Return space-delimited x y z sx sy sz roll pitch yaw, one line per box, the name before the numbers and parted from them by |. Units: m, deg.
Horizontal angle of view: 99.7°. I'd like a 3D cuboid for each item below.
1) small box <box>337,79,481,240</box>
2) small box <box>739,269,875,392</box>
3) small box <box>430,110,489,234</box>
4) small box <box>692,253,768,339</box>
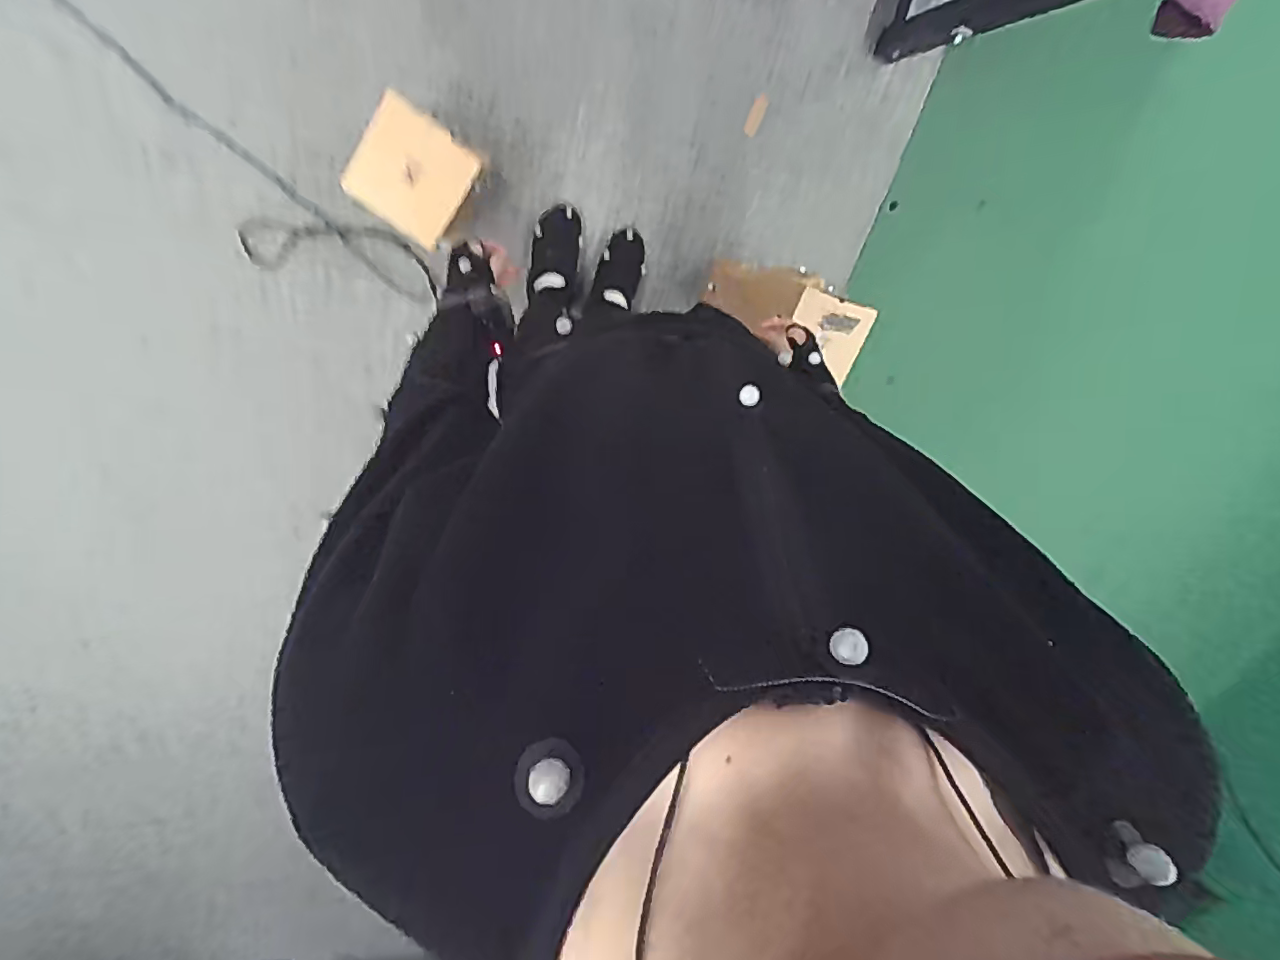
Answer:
small box | -0.397 -0.559 0.964 0.168 0.176 0.179 32 107 -25
small box | 0.319 -0.301 1.075 0.168 0.176 0.179 12 117 -19
small box | -0.420 -0.636 1.104 0.168 0.176 0.179 26 111 -24
small box | 0.253 -0.454 1.359 0.179 0.176 0.168 20 113 -22
